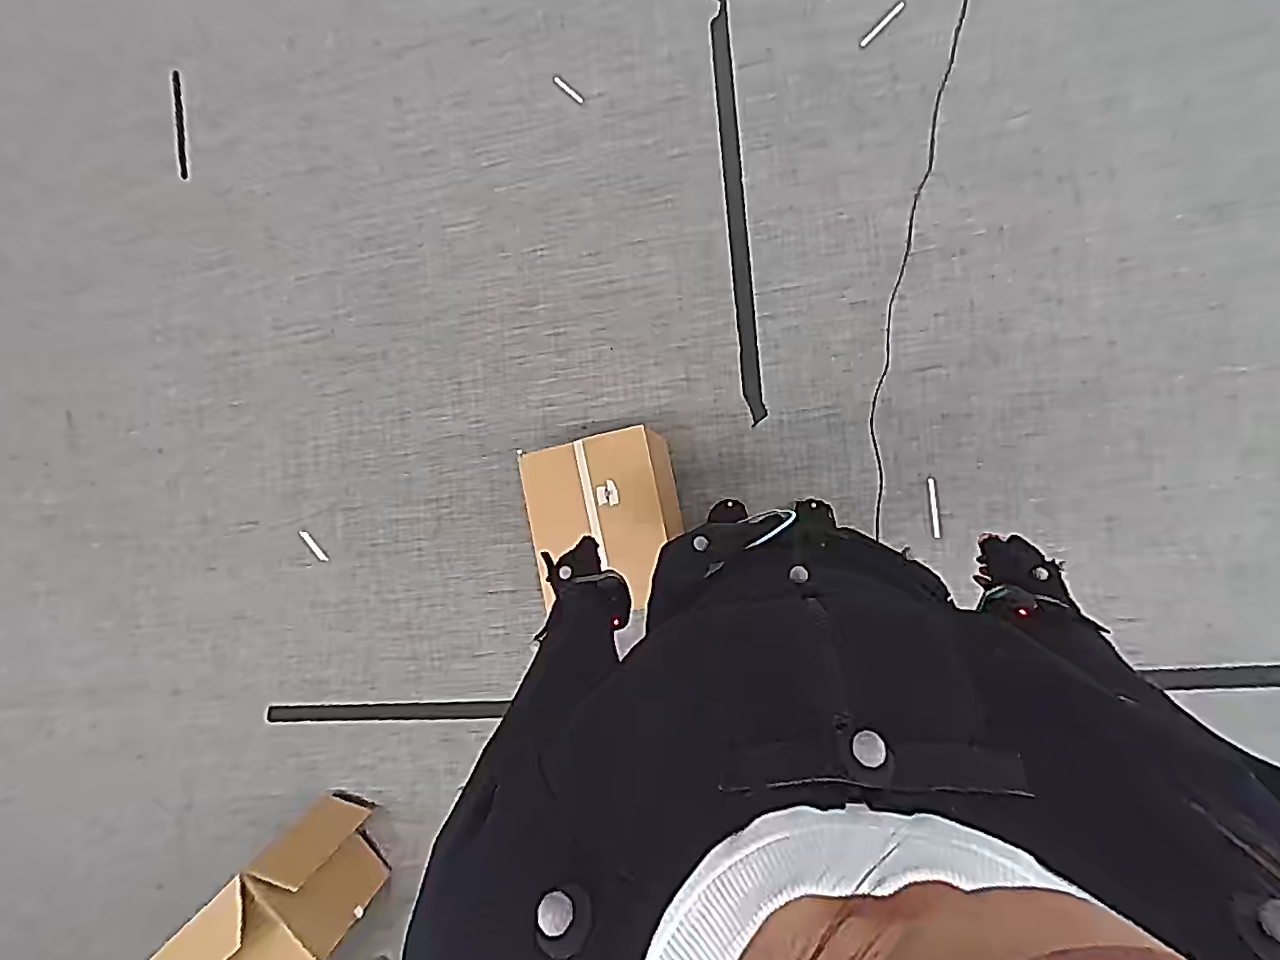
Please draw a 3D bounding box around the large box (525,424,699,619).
[{"bbox_3d":[-0.056,0.106,1.383,0.320,0.320,0.408,-13,84,11],"label":"large box"}]
